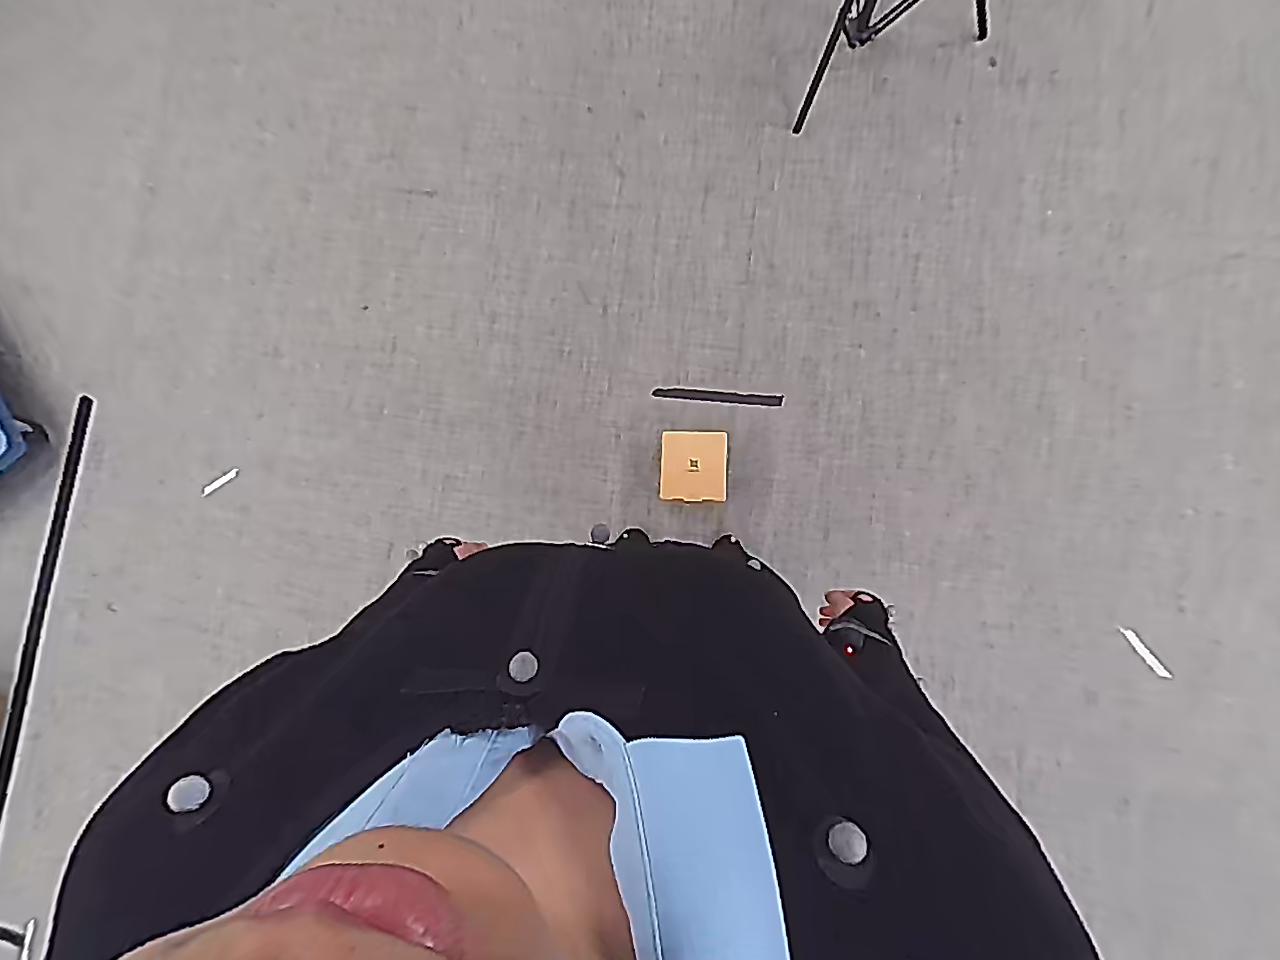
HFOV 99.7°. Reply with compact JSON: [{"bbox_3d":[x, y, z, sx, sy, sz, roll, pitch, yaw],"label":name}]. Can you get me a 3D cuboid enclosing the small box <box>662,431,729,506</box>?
[{"bbox_3d":[0.146,-0.026,1.429,0.168,0.176,0.179,1,85,6],"label":"small box"}]
